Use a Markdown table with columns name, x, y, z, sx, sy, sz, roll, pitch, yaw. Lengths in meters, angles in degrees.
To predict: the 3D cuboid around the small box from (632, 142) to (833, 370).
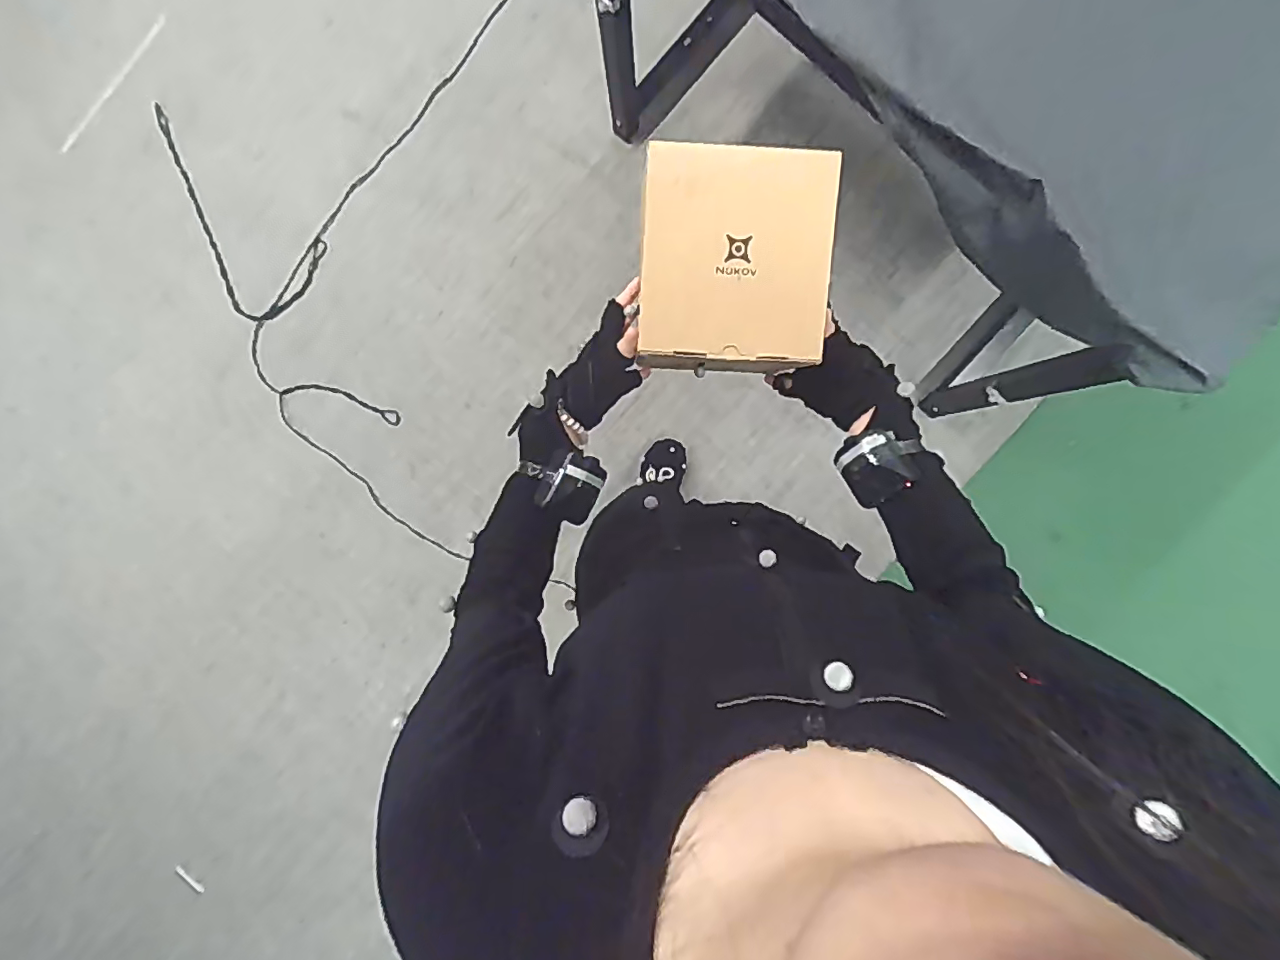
| name | x | y | z | sx | sy | sz | roll | pitch | yaw |
| --- | --- | --- | --- | --- | --- | --- | --- | --- | --- |
| small box | 0.079 | -0.210 | 0.555 | 0.168 | 0.176 | 0.179 | 3 | 99 | -2 |
